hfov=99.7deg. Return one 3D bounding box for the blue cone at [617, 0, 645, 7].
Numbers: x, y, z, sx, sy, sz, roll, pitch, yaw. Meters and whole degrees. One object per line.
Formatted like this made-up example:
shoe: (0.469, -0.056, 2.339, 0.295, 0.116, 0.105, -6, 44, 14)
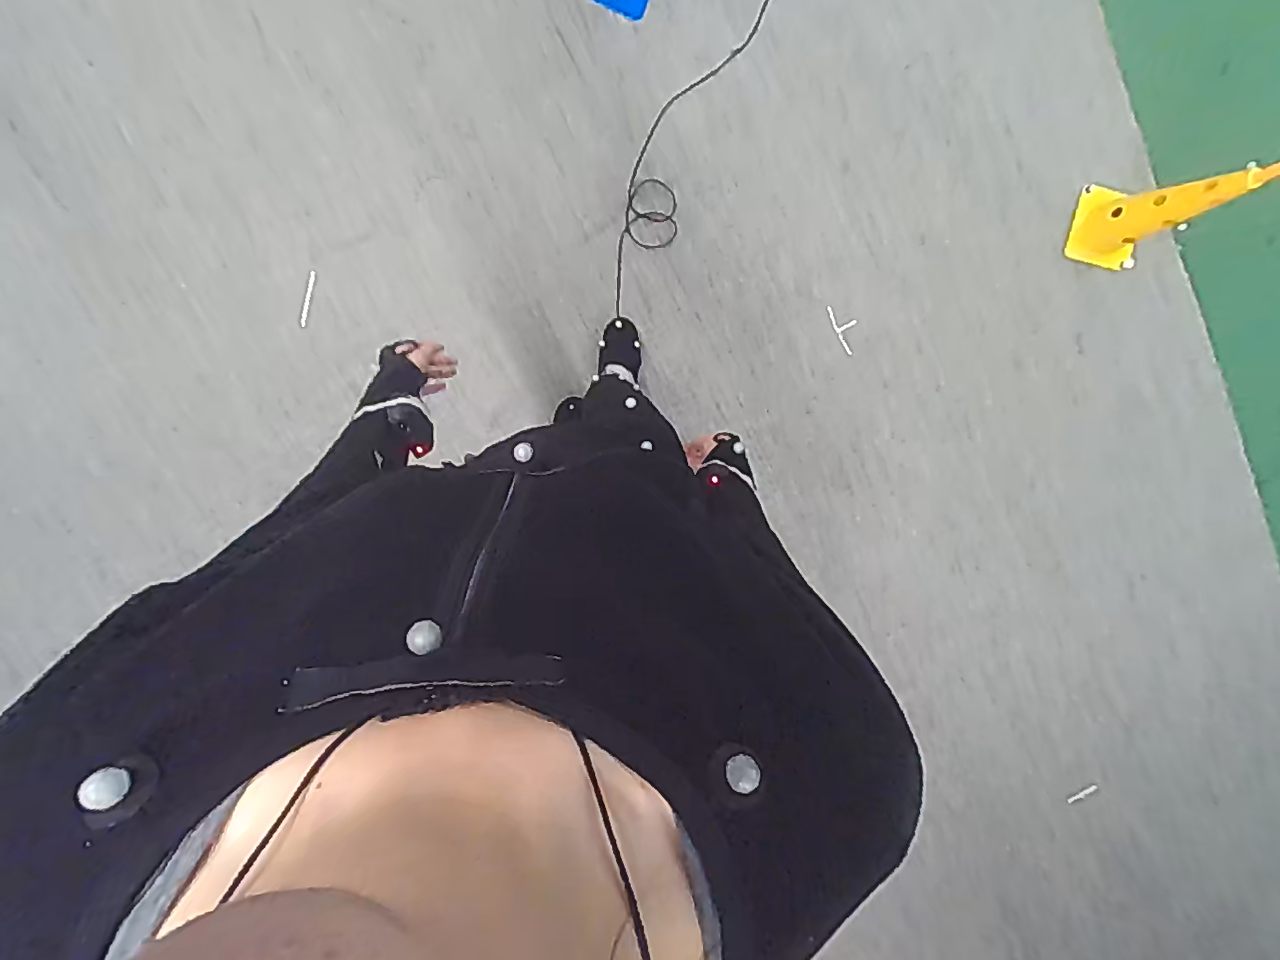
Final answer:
blue cone: (-0.040, -1.235, 1.139, 0.193, 0.380, 0.192, 20, 97, -6)
